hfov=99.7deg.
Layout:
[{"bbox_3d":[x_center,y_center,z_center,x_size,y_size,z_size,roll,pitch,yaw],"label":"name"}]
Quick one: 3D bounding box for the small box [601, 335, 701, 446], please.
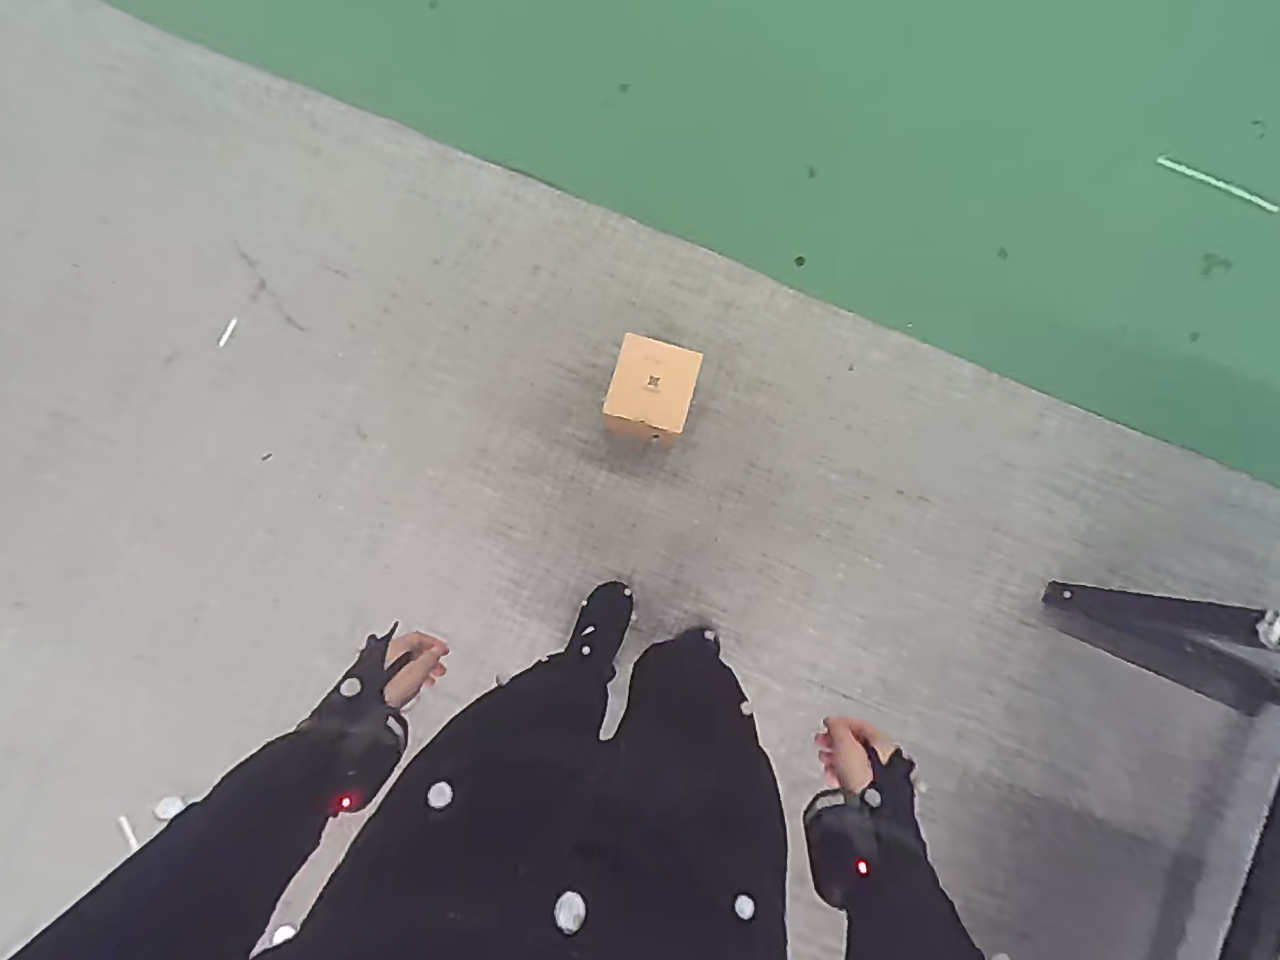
[{"bbox_3d":[0.021,-0.182,1.163,0.168,0.176,0.179,16,84,-1],"label":"small box"}]
